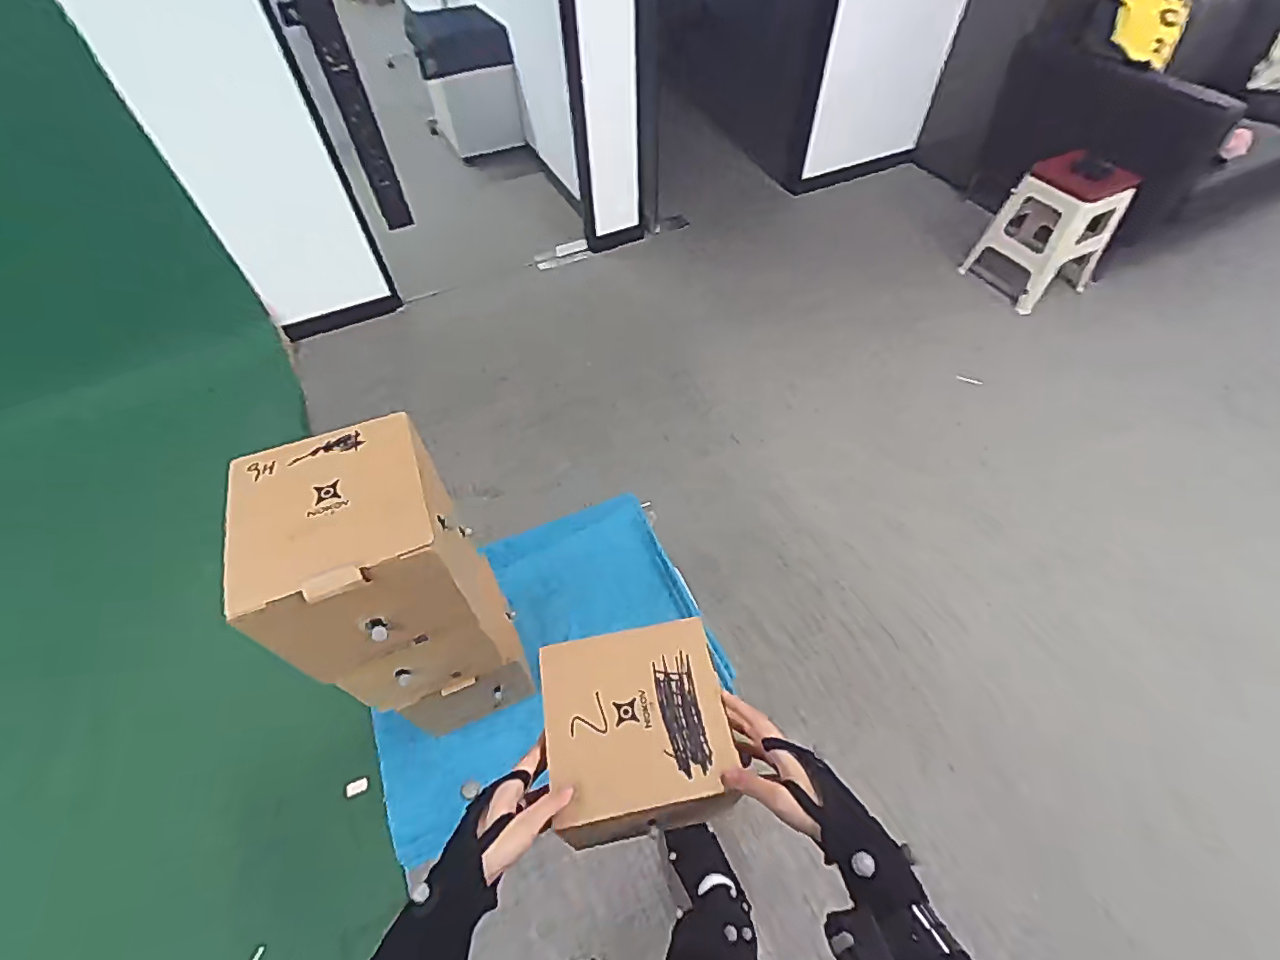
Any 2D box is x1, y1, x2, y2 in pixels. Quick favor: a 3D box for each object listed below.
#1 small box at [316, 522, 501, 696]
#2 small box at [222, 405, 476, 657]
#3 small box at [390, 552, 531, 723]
[{"bbox_3d":[-0.286,0.151,0.681,0.168,0.176,0.179,-18,54,-13],"label":"small box"},{"bbox_3d":[-0.278,0.059,0.545,0.168,0.176,0.179,-18,55,-13],"label":"small box"},{"bbox_3d":[-0.273,0.244,0.814,0.168,0.176,0.179,-18,55,-14],"label":"small box"}]
